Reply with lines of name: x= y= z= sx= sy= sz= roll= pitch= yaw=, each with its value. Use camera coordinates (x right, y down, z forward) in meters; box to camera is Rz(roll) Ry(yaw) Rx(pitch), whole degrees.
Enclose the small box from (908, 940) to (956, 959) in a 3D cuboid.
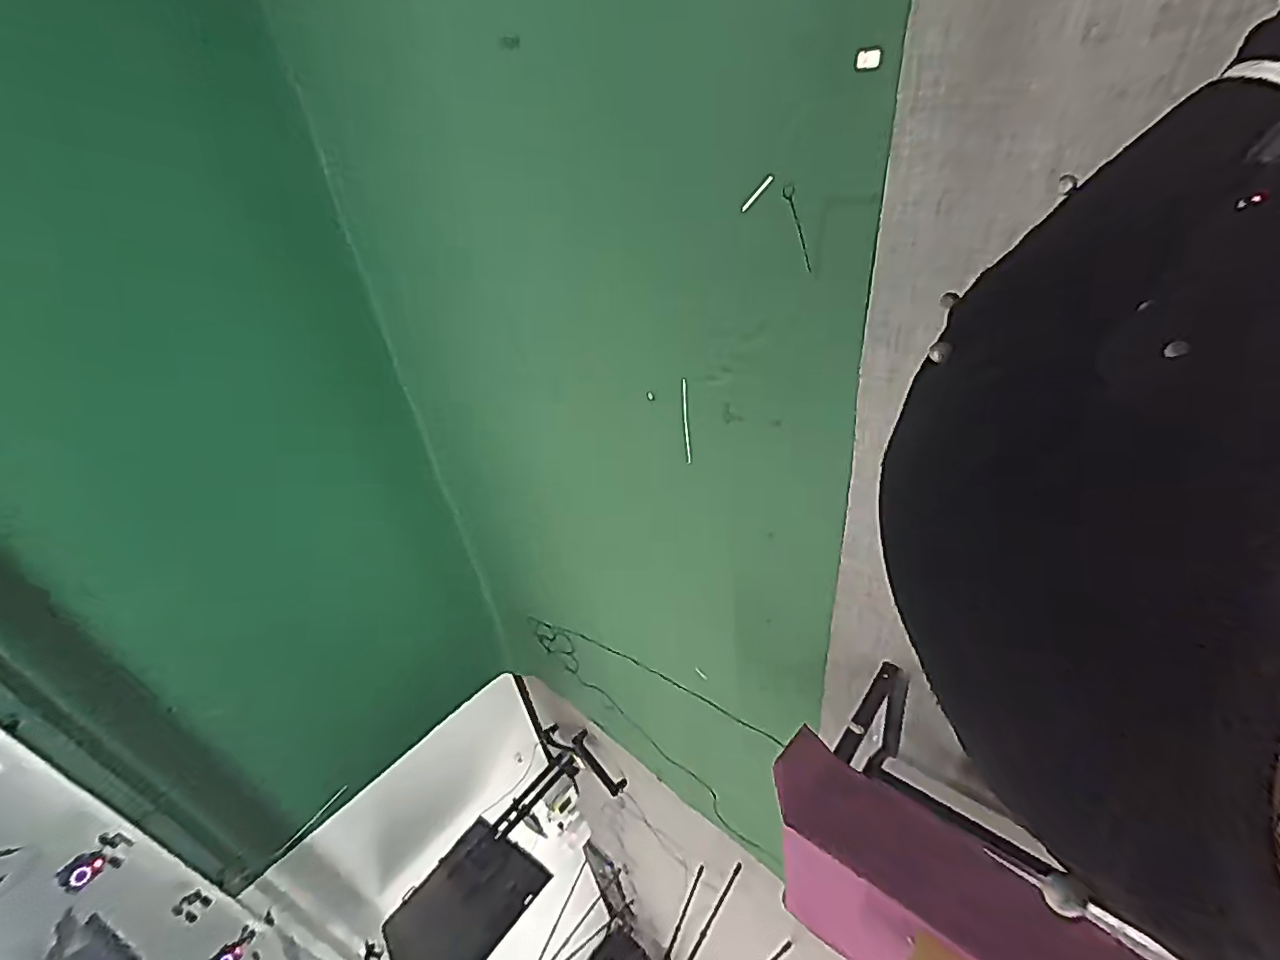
small box: x=0.729 y=1.271 z=1.309 sx=0.179 sy=0.176 sz=0.168 roll=21 pitch=133 yaw=36
